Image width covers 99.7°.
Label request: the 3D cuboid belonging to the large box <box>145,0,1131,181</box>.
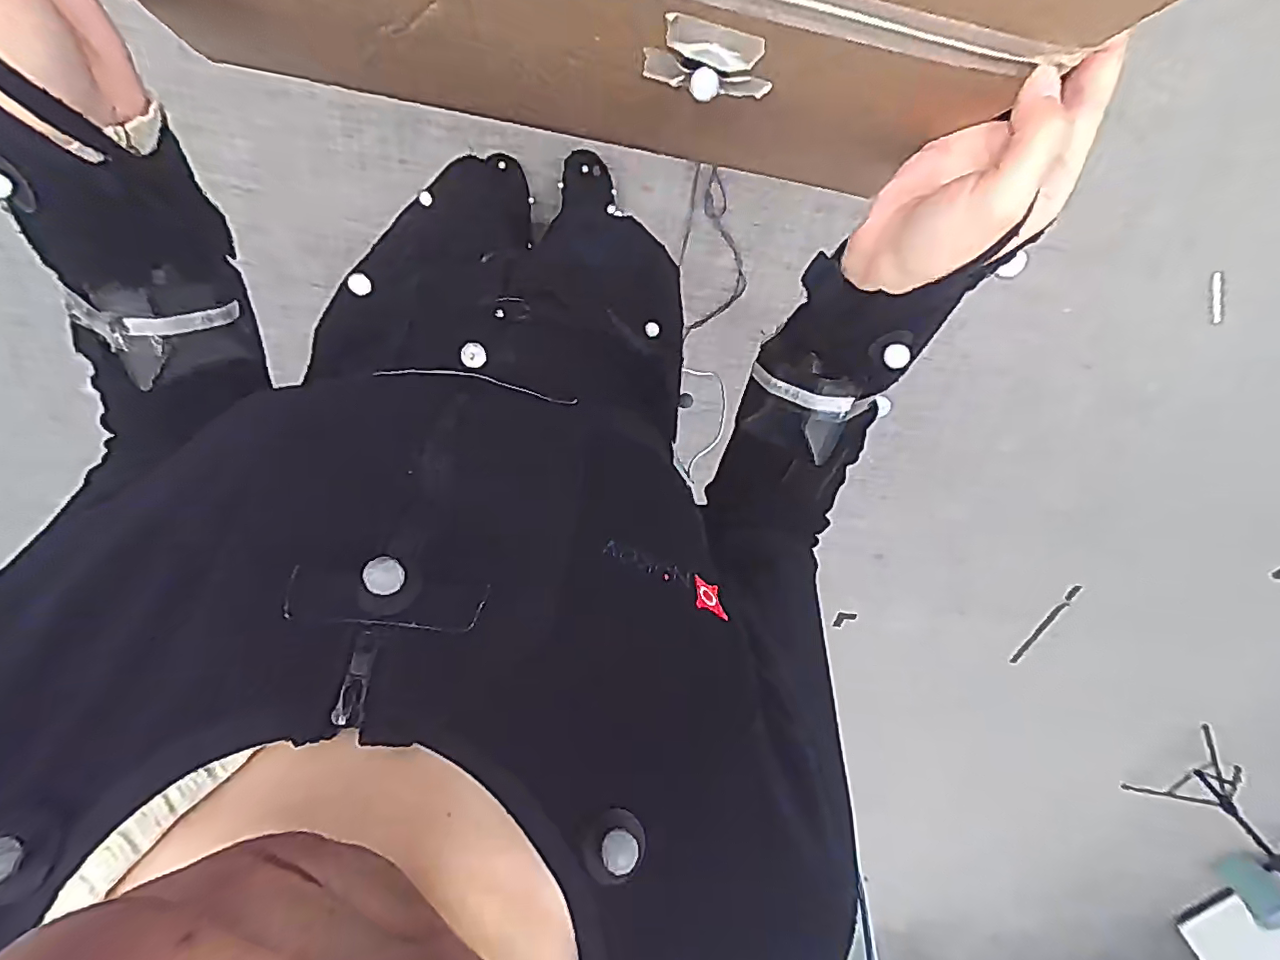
[{"bbox_3d":[-0.013,-0.341,0.163,0.408,0.320,0.320,6,100,-7],"label":"large box"}]
